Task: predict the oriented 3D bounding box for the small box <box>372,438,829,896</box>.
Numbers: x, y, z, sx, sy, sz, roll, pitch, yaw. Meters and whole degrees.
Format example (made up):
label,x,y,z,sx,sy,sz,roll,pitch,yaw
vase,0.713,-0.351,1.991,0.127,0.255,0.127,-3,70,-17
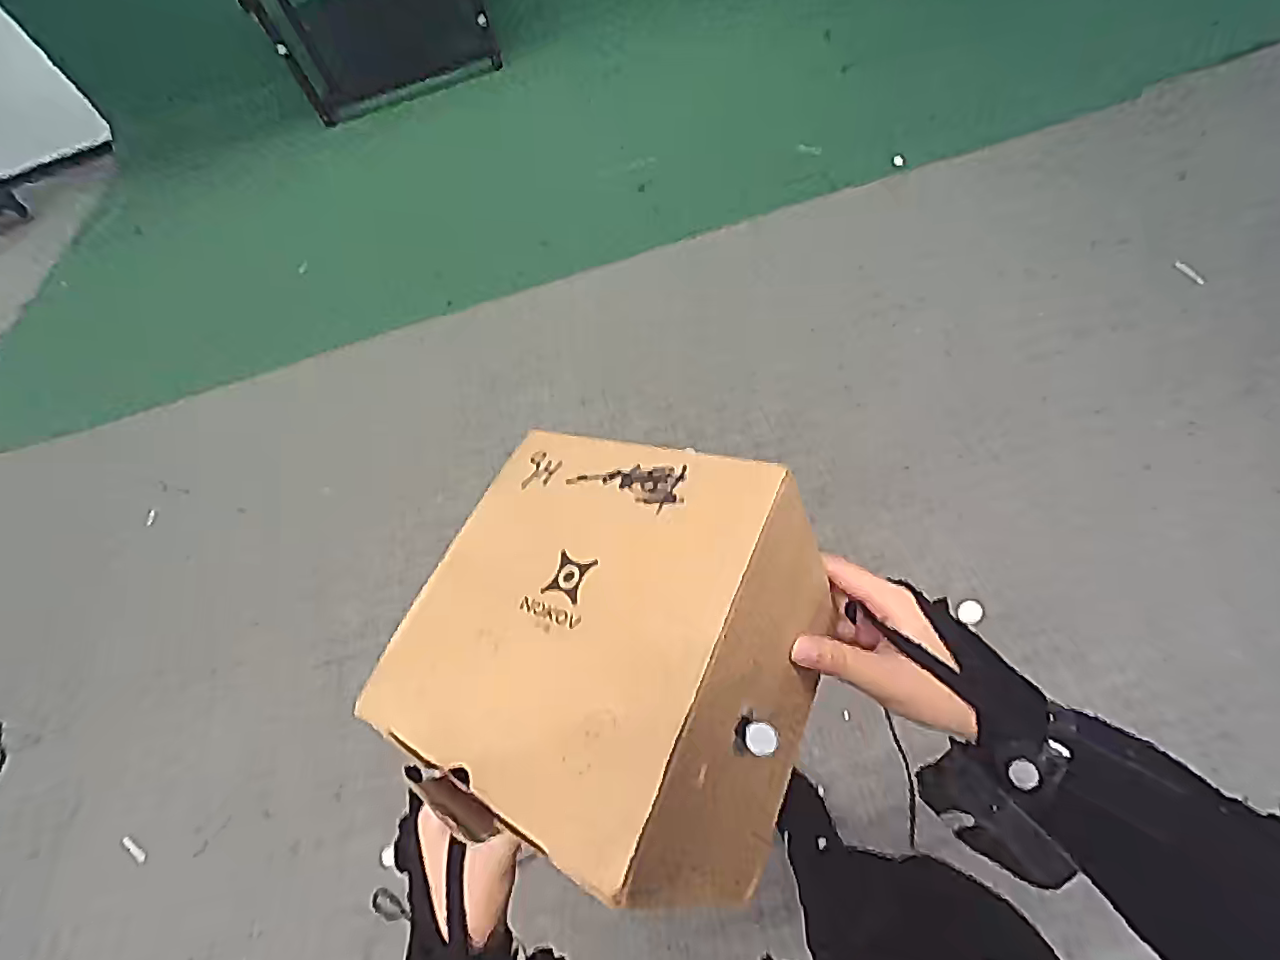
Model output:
label,x,y,z,sx,sy,sz,roll,pitch,yaw
small box,-0.002,0.100,0.315,0.168,0.176,0.179,10,62,35
